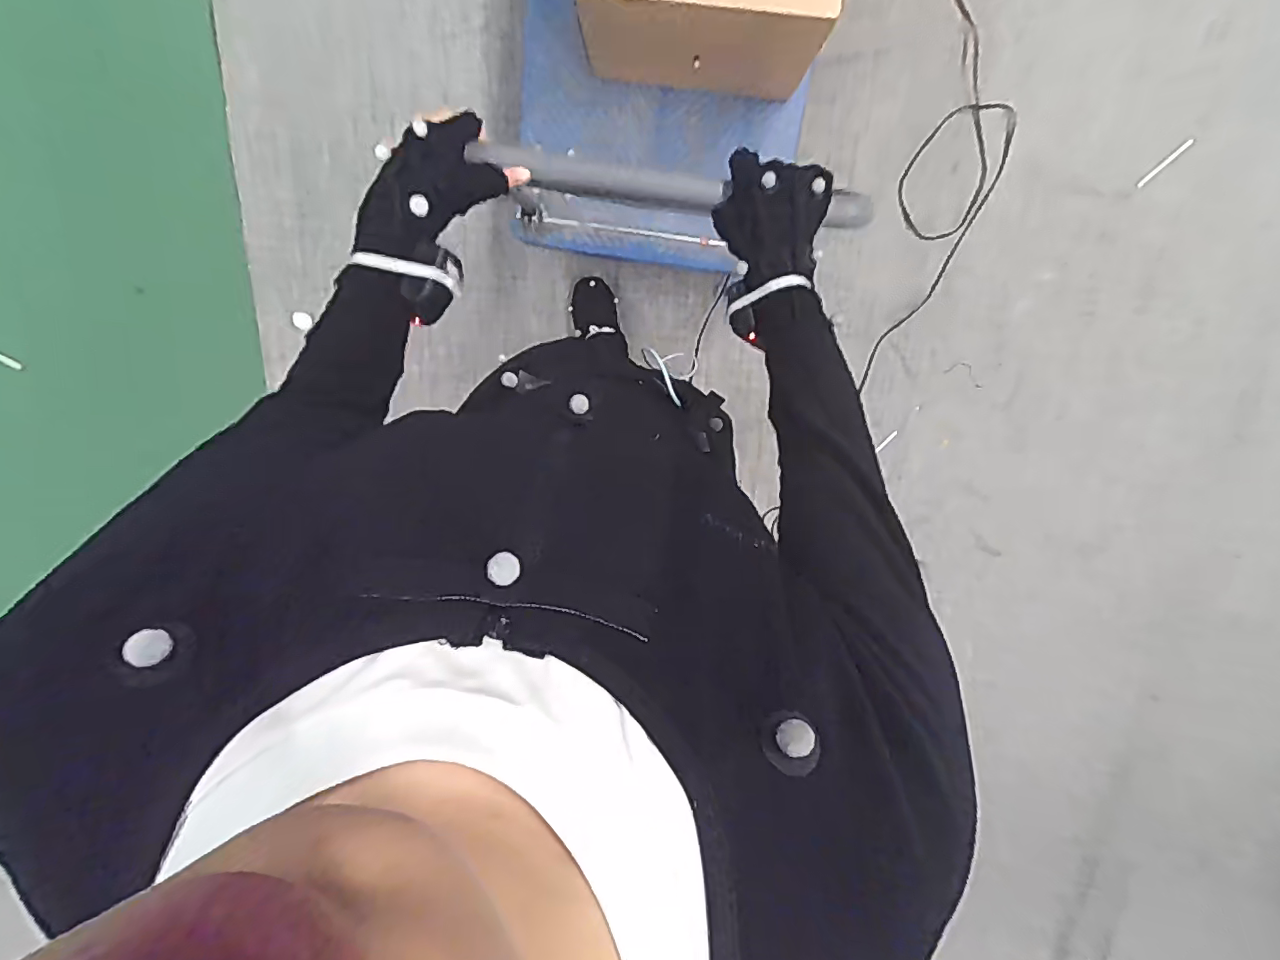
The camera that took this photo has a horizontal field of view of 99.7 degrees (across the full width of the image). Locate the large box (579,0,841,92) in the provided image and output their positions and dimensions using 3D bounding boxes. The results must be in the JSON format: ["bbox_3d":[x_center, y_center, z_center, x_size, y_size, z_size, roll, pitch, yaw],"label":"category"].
[{"bbox_3d":[0.122,-0.903,0.919,0.408,0.320,0.320,5,106,1],"label":"large box"}]
